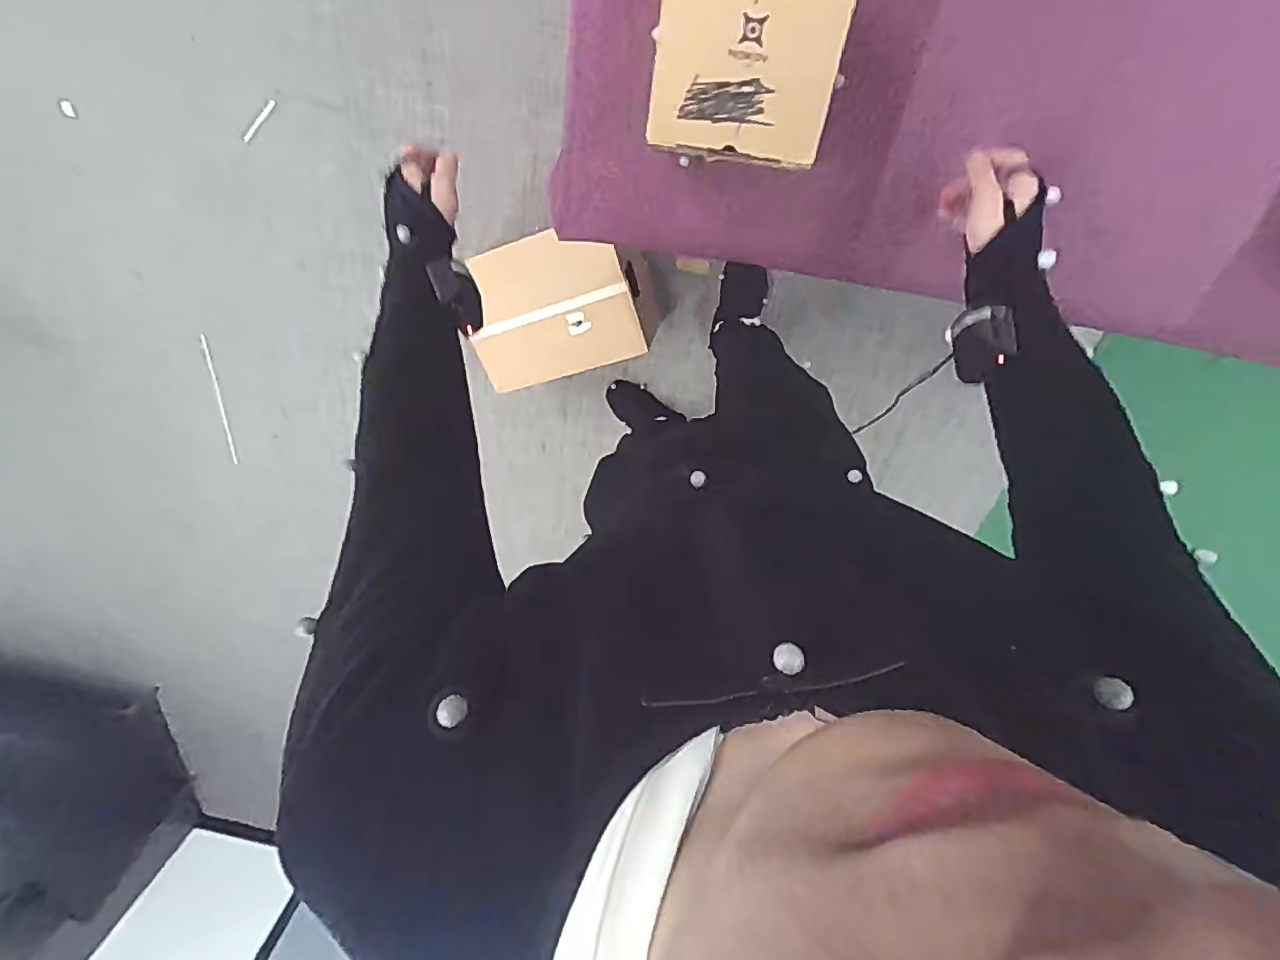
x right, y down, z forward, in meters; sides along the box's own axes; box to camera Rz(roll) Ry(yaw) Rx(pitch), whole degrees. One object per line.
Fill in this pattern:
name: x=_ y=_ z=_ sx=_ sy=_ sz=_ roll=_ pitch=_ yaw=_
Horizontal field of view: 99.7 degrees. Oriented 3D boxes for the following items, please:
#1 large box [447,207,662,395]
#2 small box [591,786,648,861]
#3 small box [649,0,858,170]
large box: x=-0.187 y=-0.451 z=1.351 sx=0.408 sy=0.320 sz=0.320 roll=-13 pitch=117 yaw=15
small box: x=-0.079 y=1.385 z=2.183 sx=0.168 sy=0.176 sz=0.179 roll=22 pitch=119 yaw=0
small box: x=0.112 y=-0.427 z=0.551 sx=0.168 sy=0.176 sz=0.179 roll=11 pitch=118 yaw=3
